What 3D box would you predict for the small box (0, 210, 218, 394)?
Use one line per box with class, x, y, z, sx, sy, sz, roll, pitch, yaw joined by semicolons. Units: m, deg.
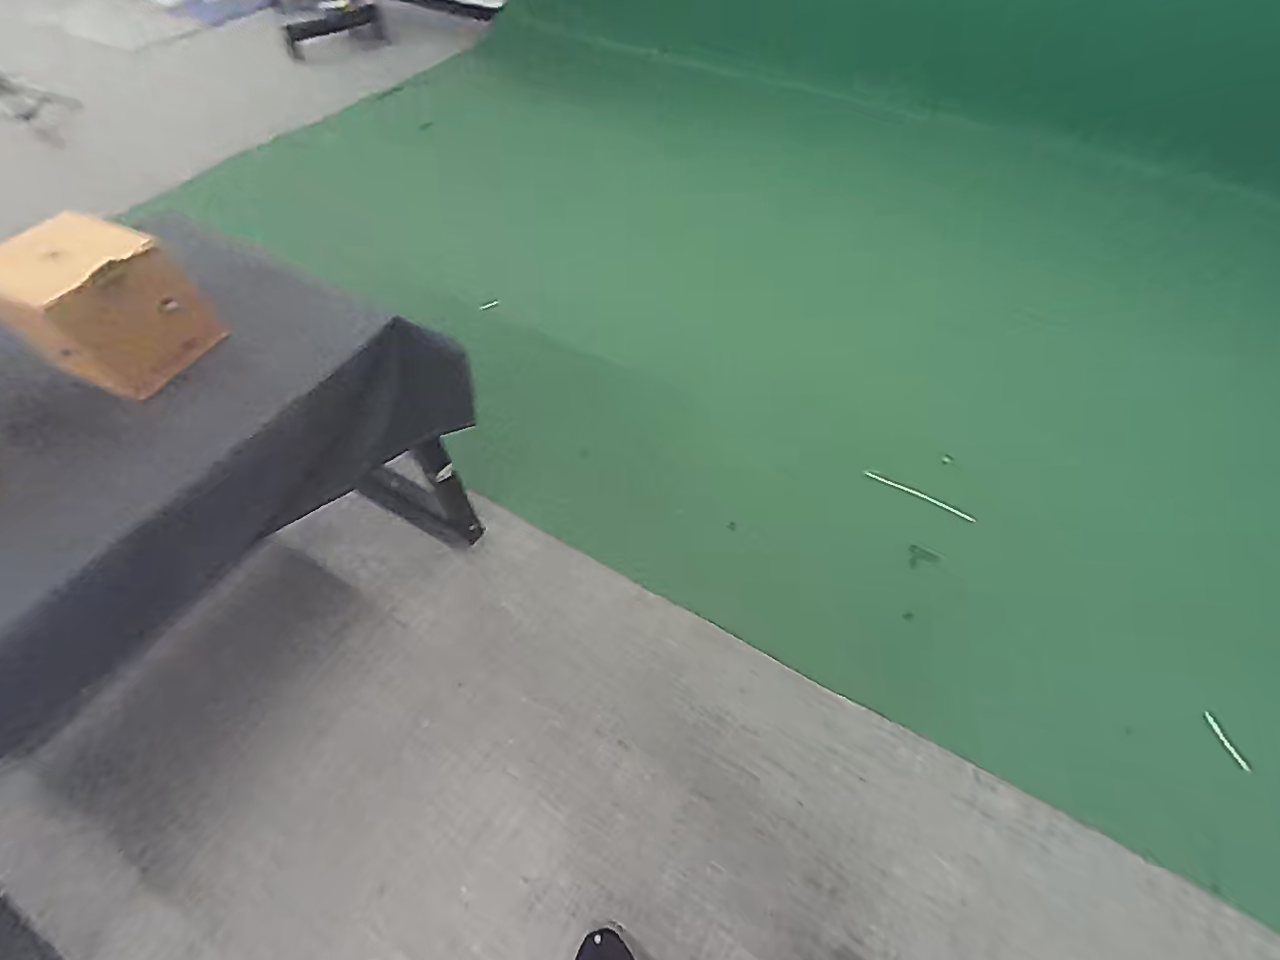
small box;-0.767;-0.247;0.768;0.179;0.176;0.168;18;56;13
